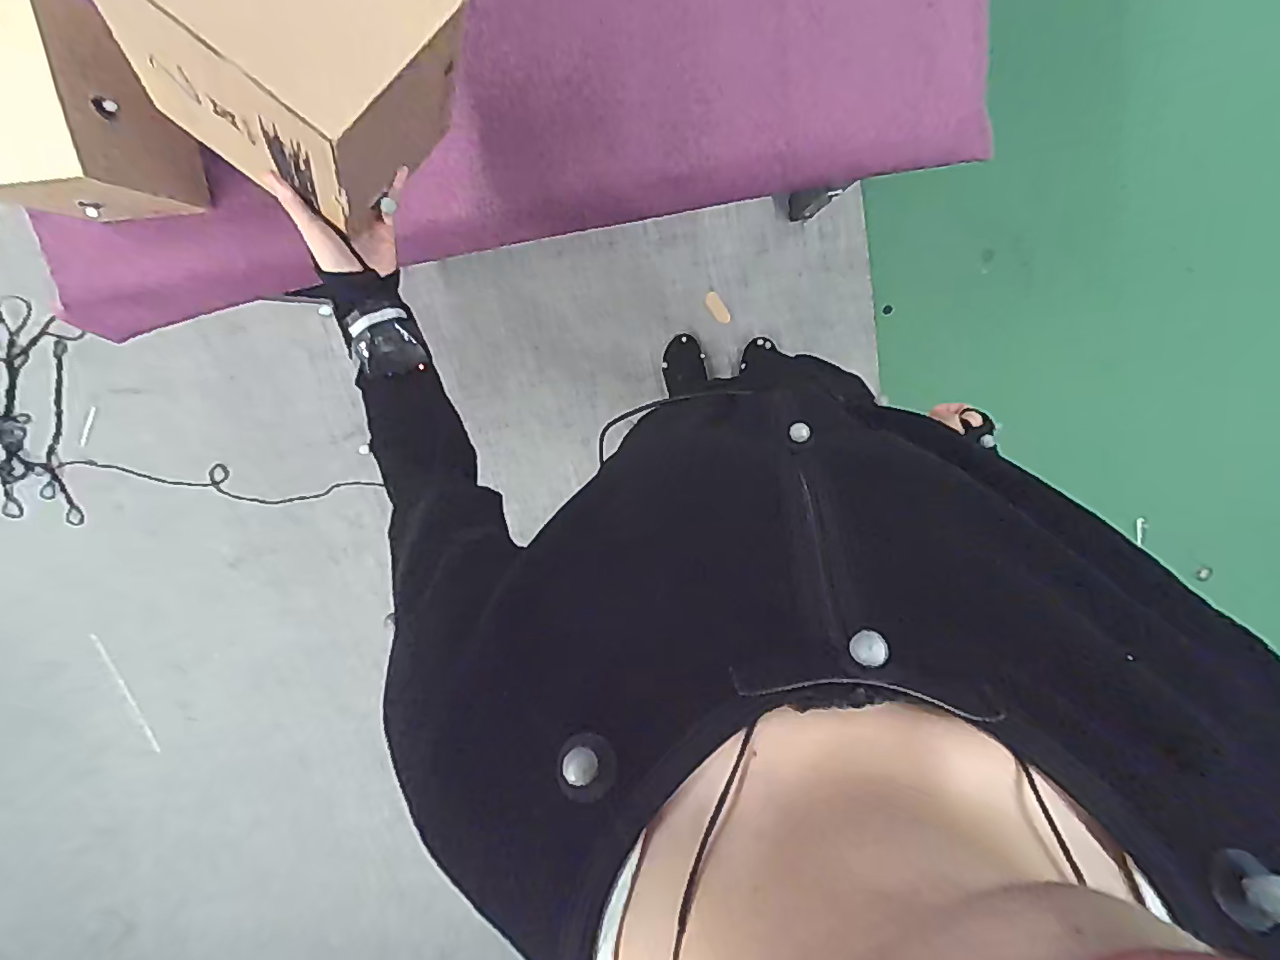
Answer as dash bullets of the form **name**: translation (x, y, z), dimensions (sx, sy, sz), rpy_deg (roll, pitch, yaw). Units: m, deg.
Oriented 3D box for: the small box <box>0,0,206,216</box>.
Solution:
- **small box**: translation (-0.634, -0.401, 0.597), dimensions (0.168, 0.176, 0.179), rpy_deg (-3, 105, 2)
